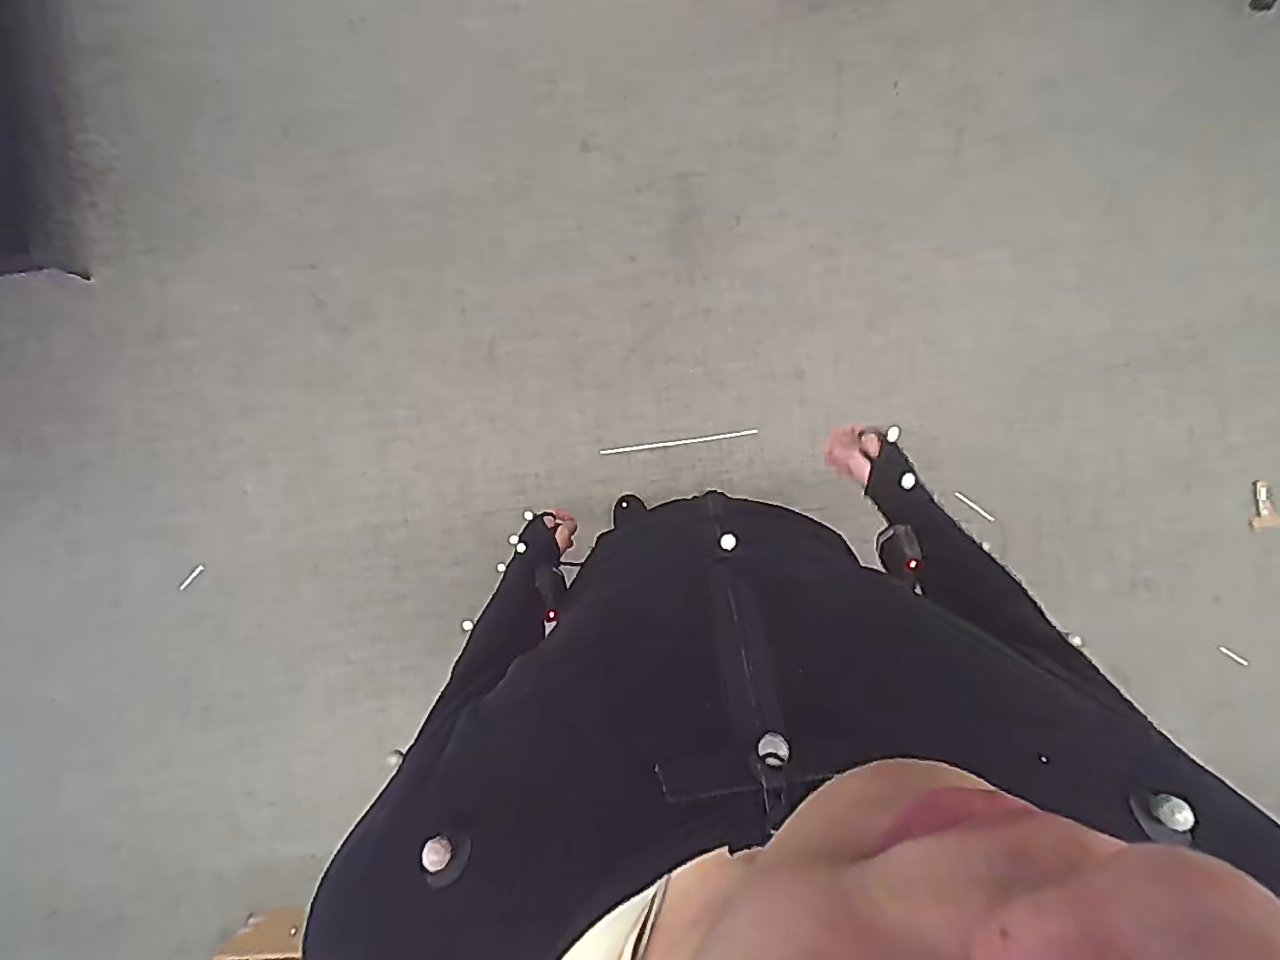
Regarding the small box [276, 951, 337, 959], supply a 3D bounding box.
[{"bbox_3d":[-0.963,1.442,1.482,0.179,0.176,0.168,-3,90,1],"label":"small box"}]
